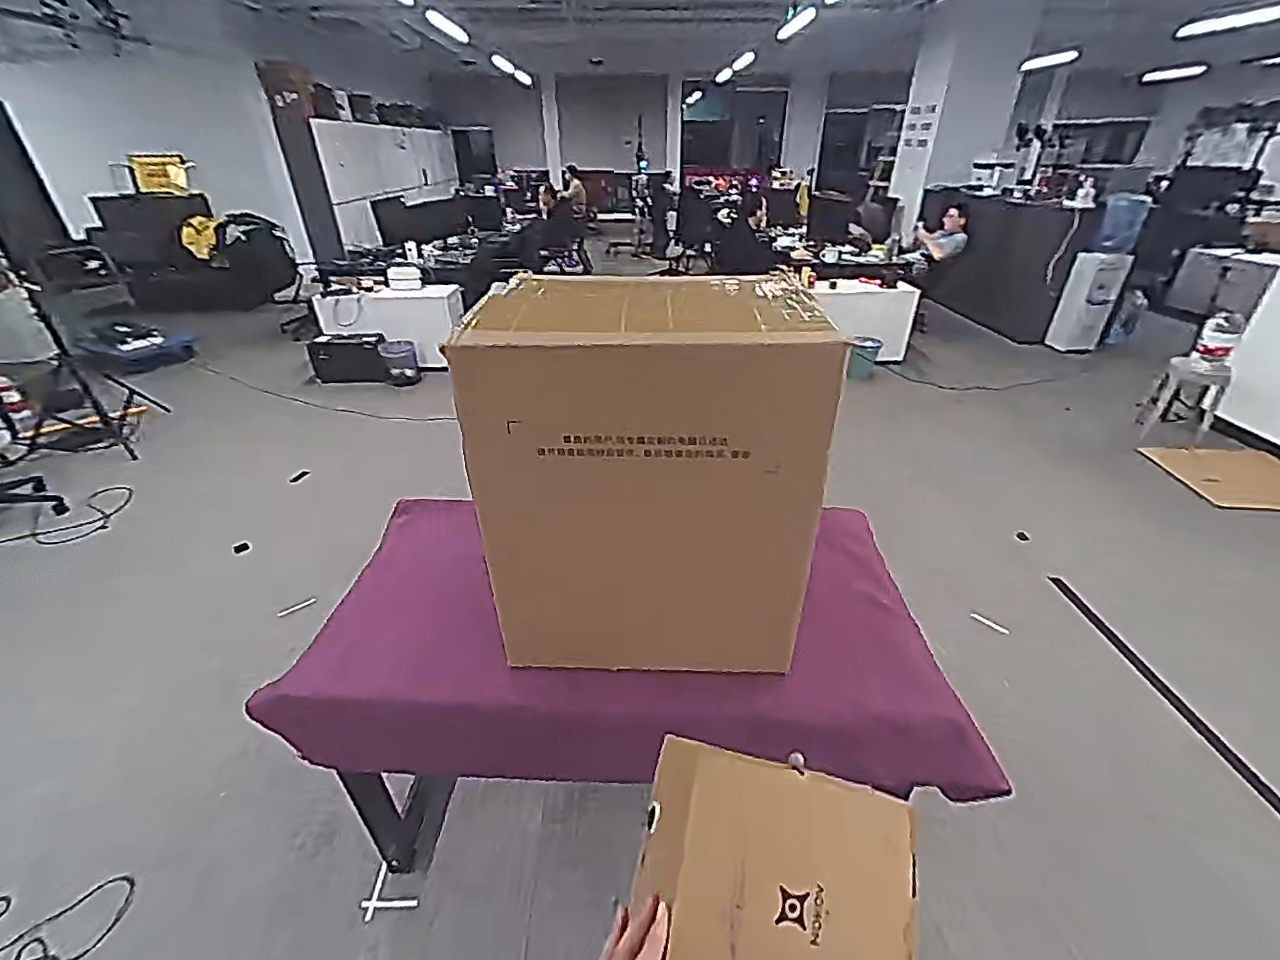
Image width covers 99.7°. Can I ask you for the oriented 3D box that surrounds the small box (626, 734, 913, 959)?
[{"bbox_3d":[0.095,0.319,0.450,0.179,0.176,0.168,14,68,-3],"label":"small box"}]
